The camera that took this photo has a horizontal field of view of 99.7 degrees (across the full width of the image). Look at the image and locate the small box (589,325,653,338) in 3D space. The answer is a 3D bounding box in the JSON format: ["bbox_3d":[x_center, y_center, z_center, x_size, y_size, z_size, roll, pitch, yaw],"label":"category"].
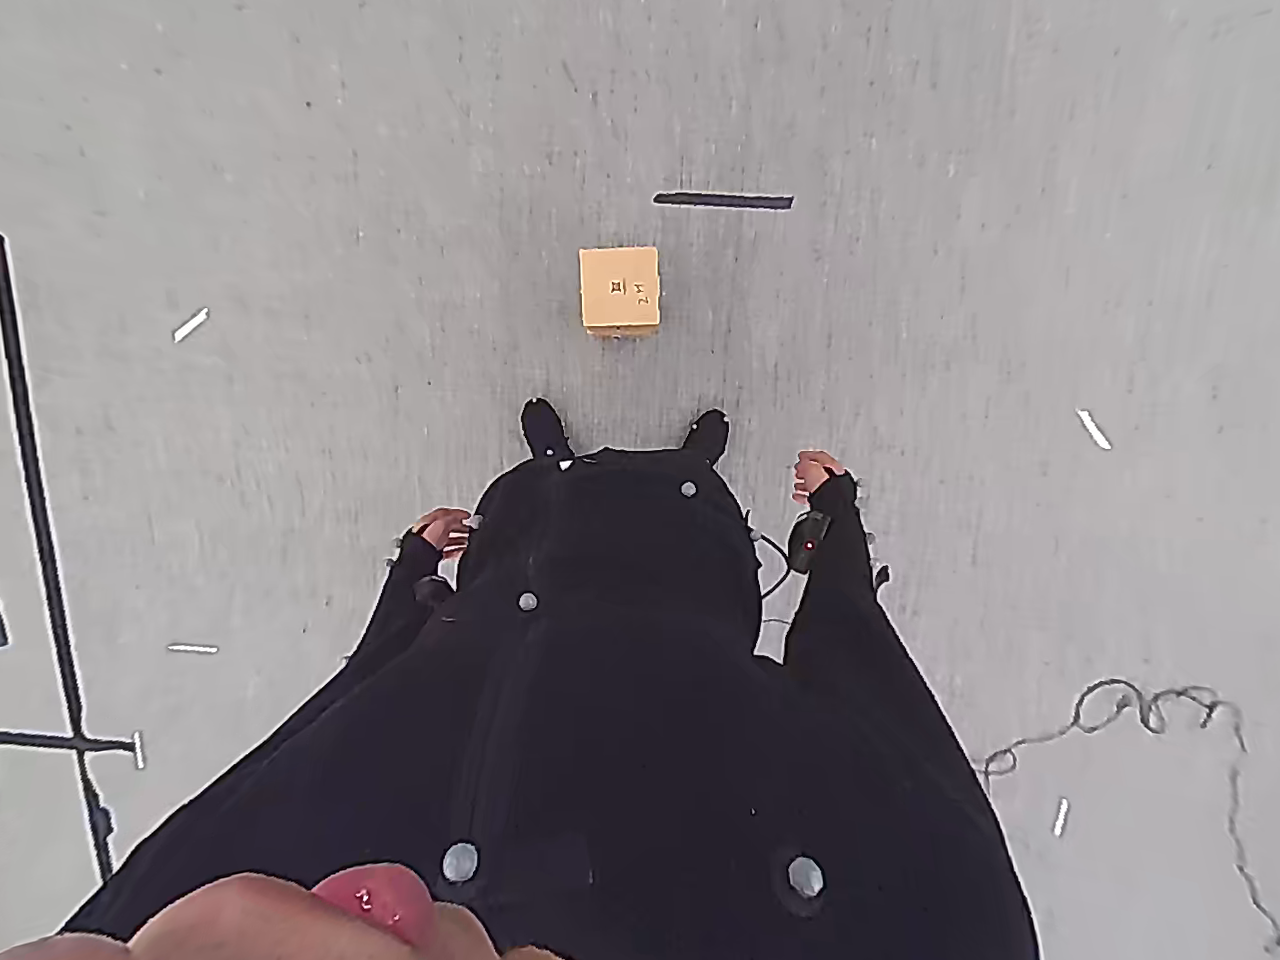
[{"bbox_3d":[-0.047,-0.472,1.431,0.168,0.176,0.179,0,102,1],"label":"small box"}]

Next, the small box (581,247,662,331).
[{"bbox_3d":[-0.037,-0.441,1.270,0.179,0.176,0.168,-1,102,2],"label":"small box"}]
